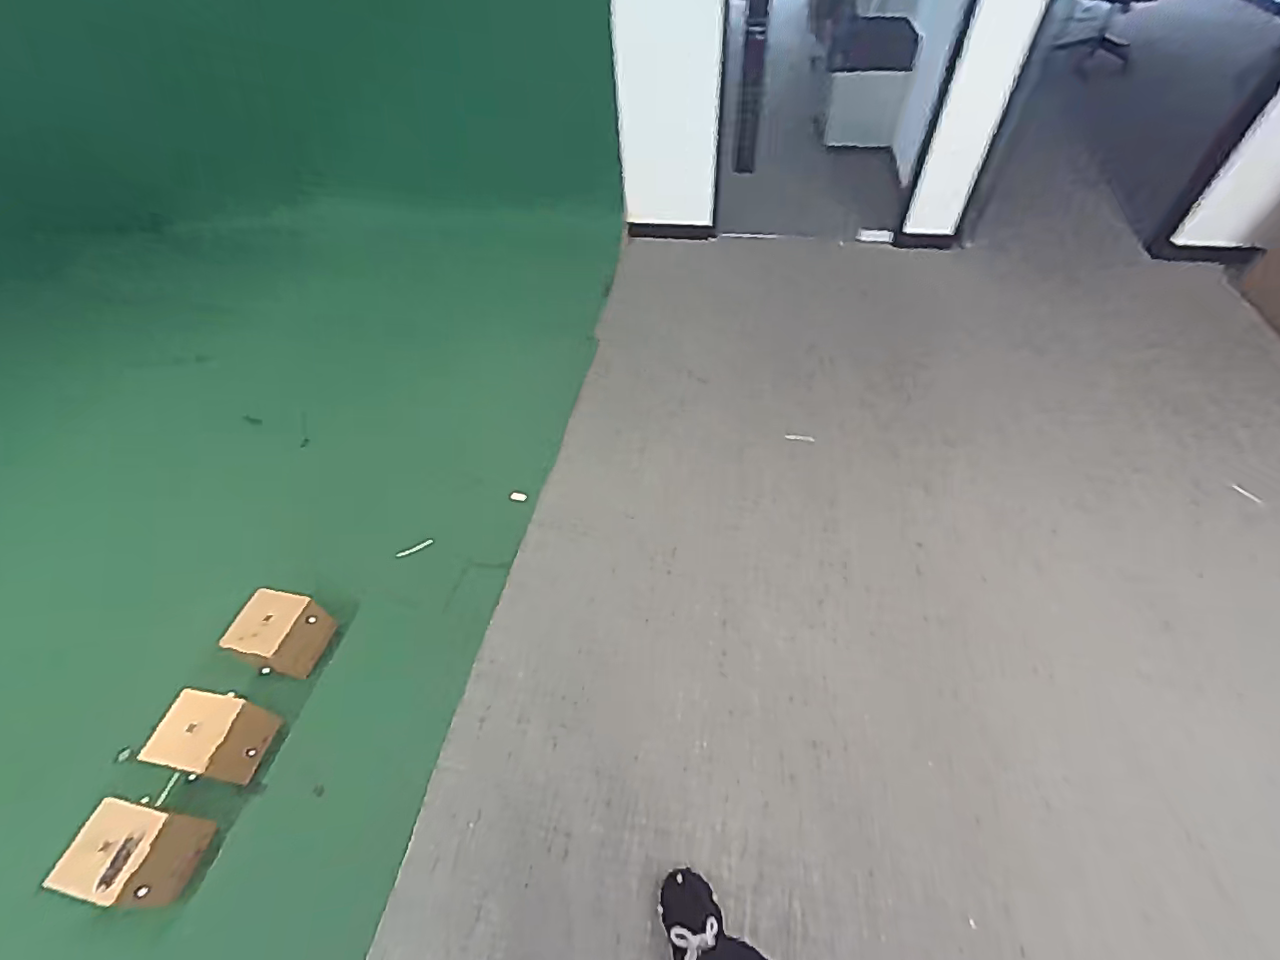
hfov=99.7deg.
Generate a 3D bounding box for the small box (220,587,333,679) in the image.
[{"bbox_3d":[-1.001,0.430,1.513,0.168,0.176,0.179,9,51,10],"label":"small box"}]

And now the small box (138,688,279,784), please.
[{"bbox_3d":[-1.061,0.640,1.346,0.179,0.176,0.168,7,51,8],"label":"small box"}]
